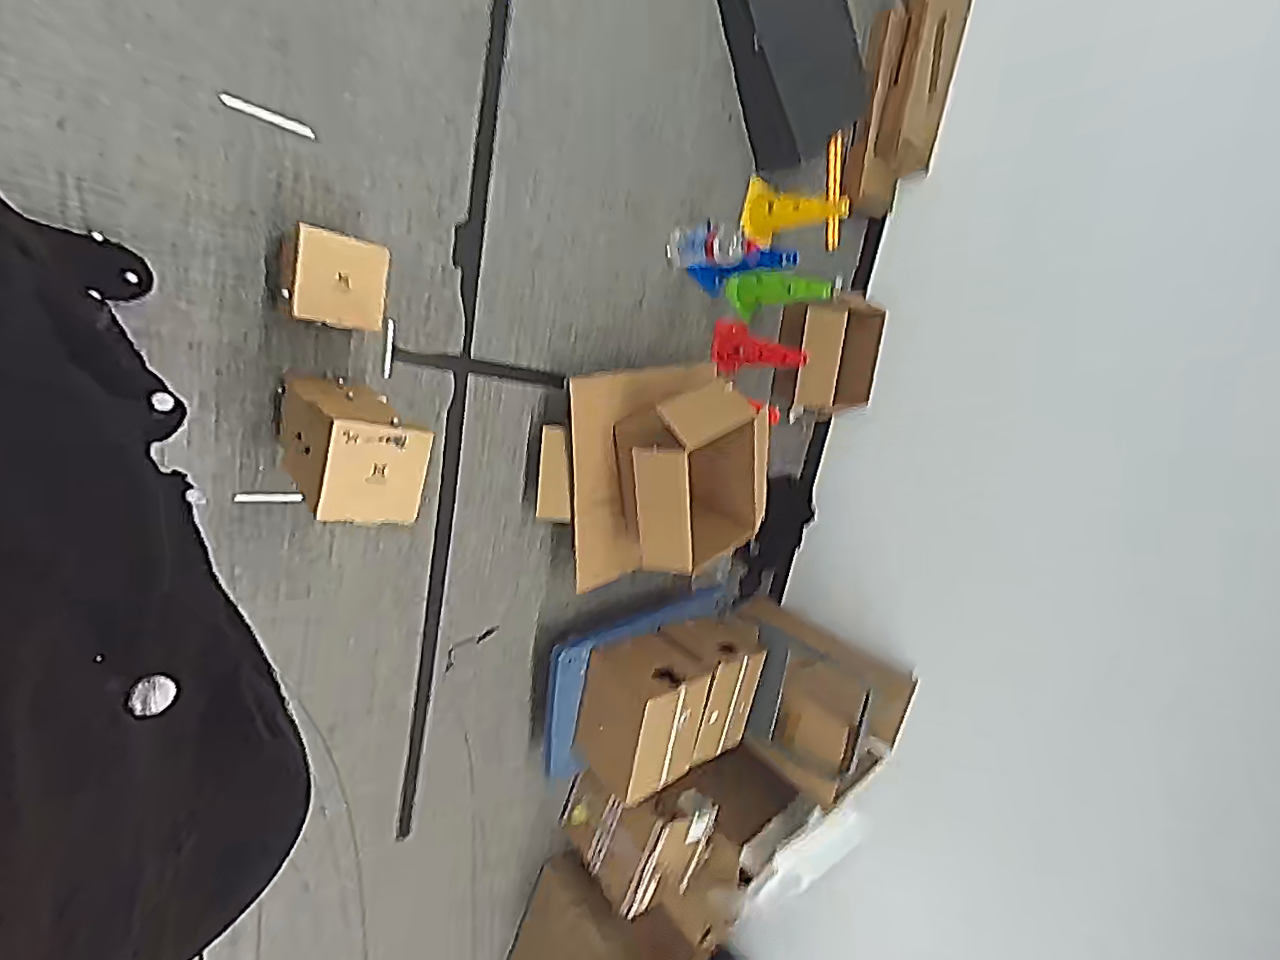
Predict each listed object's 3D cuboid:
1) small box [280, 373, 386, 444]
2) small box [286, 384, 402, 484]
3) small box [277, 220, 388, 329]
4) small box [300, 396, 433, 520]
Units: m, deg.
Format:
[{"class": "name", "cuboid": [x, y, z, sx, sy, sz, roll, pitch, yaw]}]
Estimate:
[{"class": "small box", "cuboid": [-0.704, -0.144, 1.232, 0.179, 0.176, 0.168, -1, 109, -44]}, {"class": "small box", "cuboid": [-0.610, -0.090, 1.107, 0.168, 0.176, 0.179, 2, 107, -43]}, {"class": "small box", "cuboid": [-0.659, -0.434, 1.151, 0.168, 0.176, 0.179, 0, 108, -44]}, {"class": "small box", "cuboid": [-0.506, -0.041, 0.990, 0.168, 0.176, 0.179, 7, 104, -44]}]
